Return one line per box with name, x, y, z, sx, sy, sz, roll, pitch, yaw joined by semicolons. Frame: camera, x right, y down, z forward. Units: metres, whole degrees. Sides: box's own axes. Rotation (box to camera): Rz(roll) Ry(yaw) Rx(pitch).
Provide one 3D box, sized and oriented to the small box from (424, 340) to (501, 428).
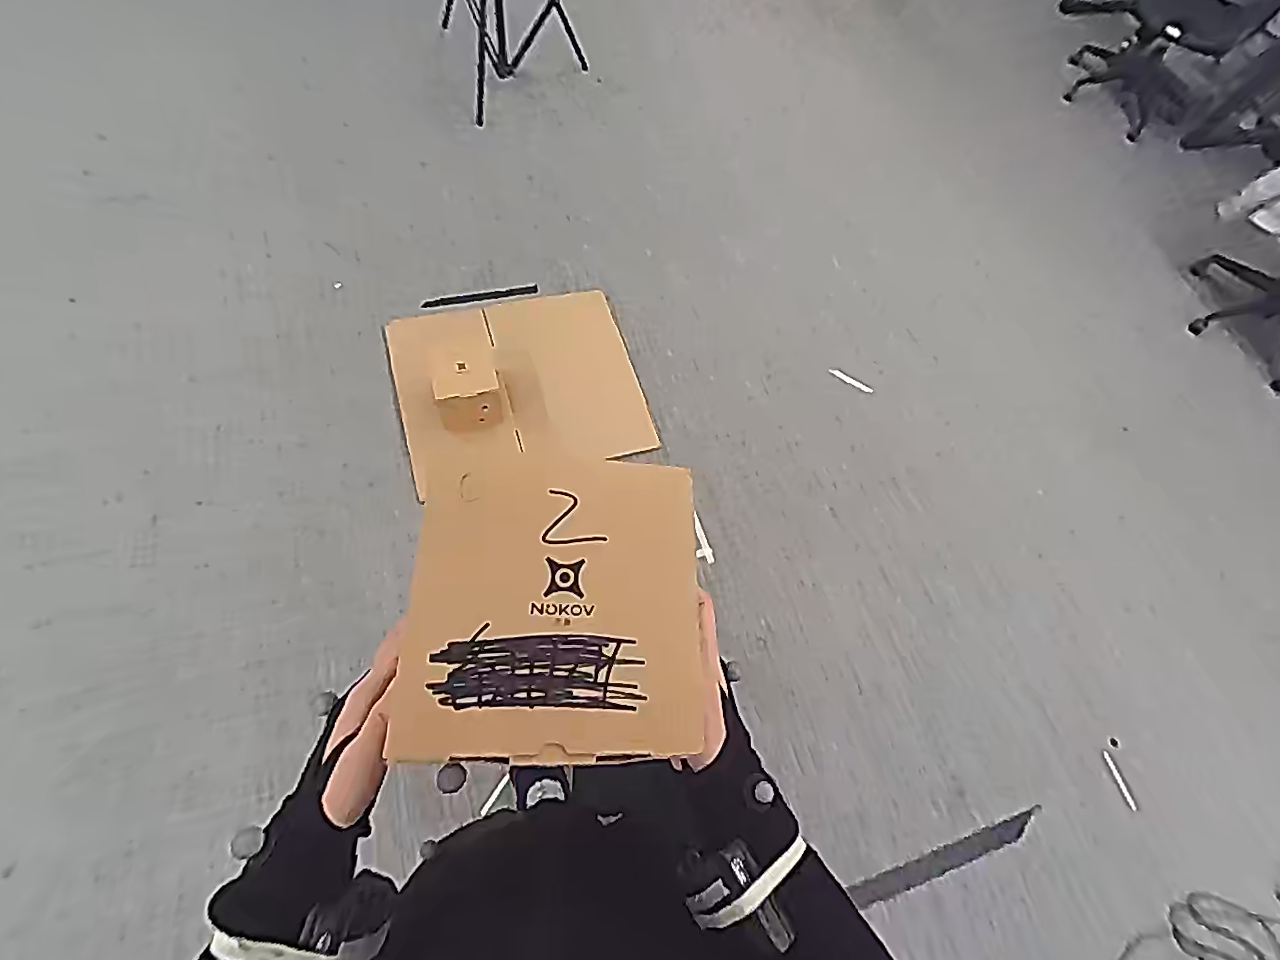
small box;-0.489;-0.260;1.503;0.168;0.176;0.179;-13;69;-16
